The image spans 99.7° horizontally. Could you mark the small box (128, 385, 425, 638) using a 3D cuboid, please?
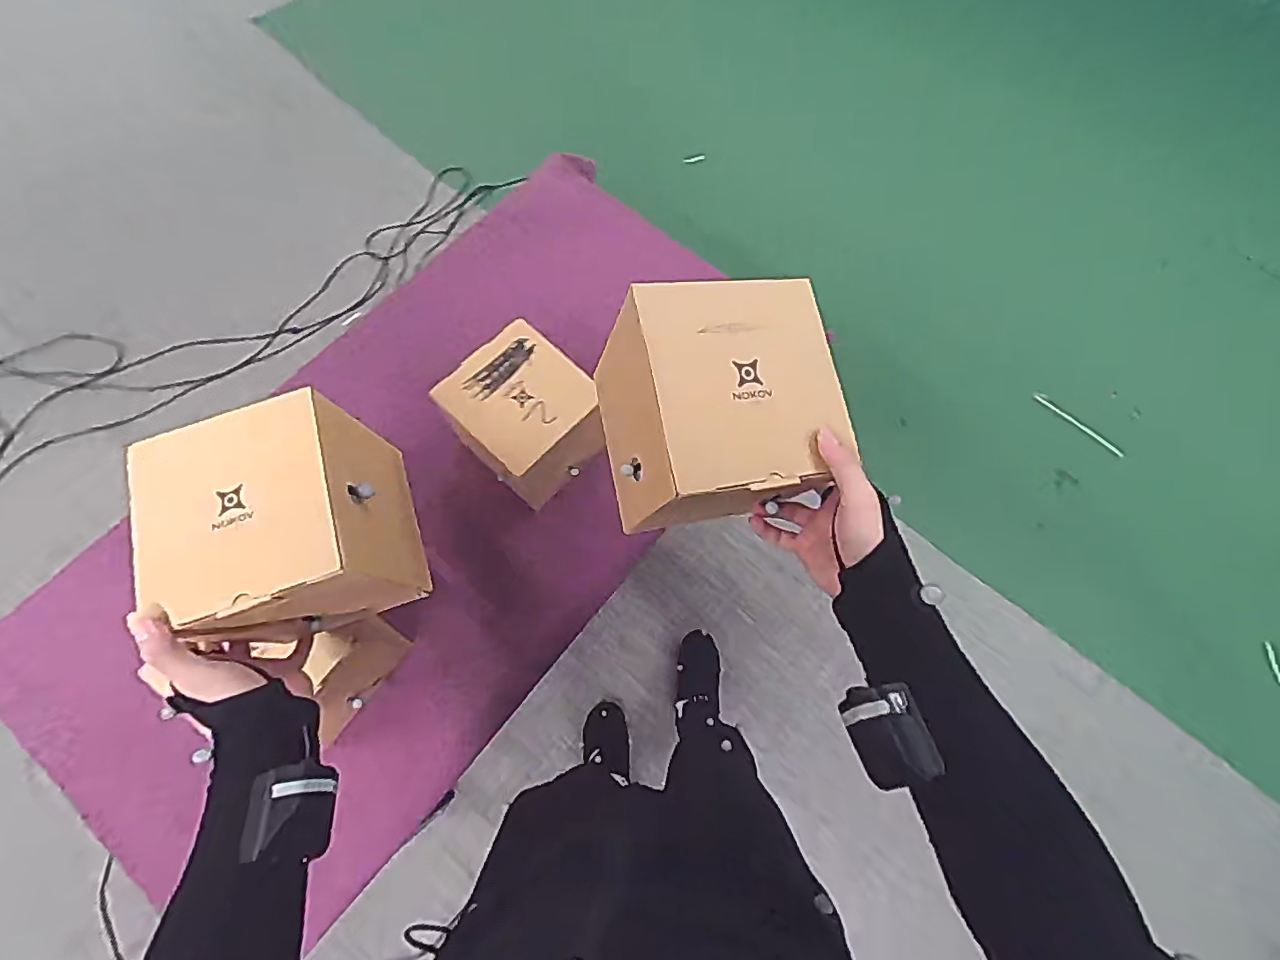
[{"bbox_3d":[-0.330,0.042,0.517,0.168,0.176,0.179,-18,73,-3],"label":"small box"}]

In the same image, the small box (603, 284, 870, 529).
[{"bbox_3d":[0.070,-0.055,0.494,0.168,0.176,0.179,-6,77,-17],"label":"small box"}]

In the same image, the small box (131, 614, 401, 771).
[{"bbox_3d":[-0.439,0.221,0.668,0.179,0.176,0.168,35,73,9],"label":"small box"}]
